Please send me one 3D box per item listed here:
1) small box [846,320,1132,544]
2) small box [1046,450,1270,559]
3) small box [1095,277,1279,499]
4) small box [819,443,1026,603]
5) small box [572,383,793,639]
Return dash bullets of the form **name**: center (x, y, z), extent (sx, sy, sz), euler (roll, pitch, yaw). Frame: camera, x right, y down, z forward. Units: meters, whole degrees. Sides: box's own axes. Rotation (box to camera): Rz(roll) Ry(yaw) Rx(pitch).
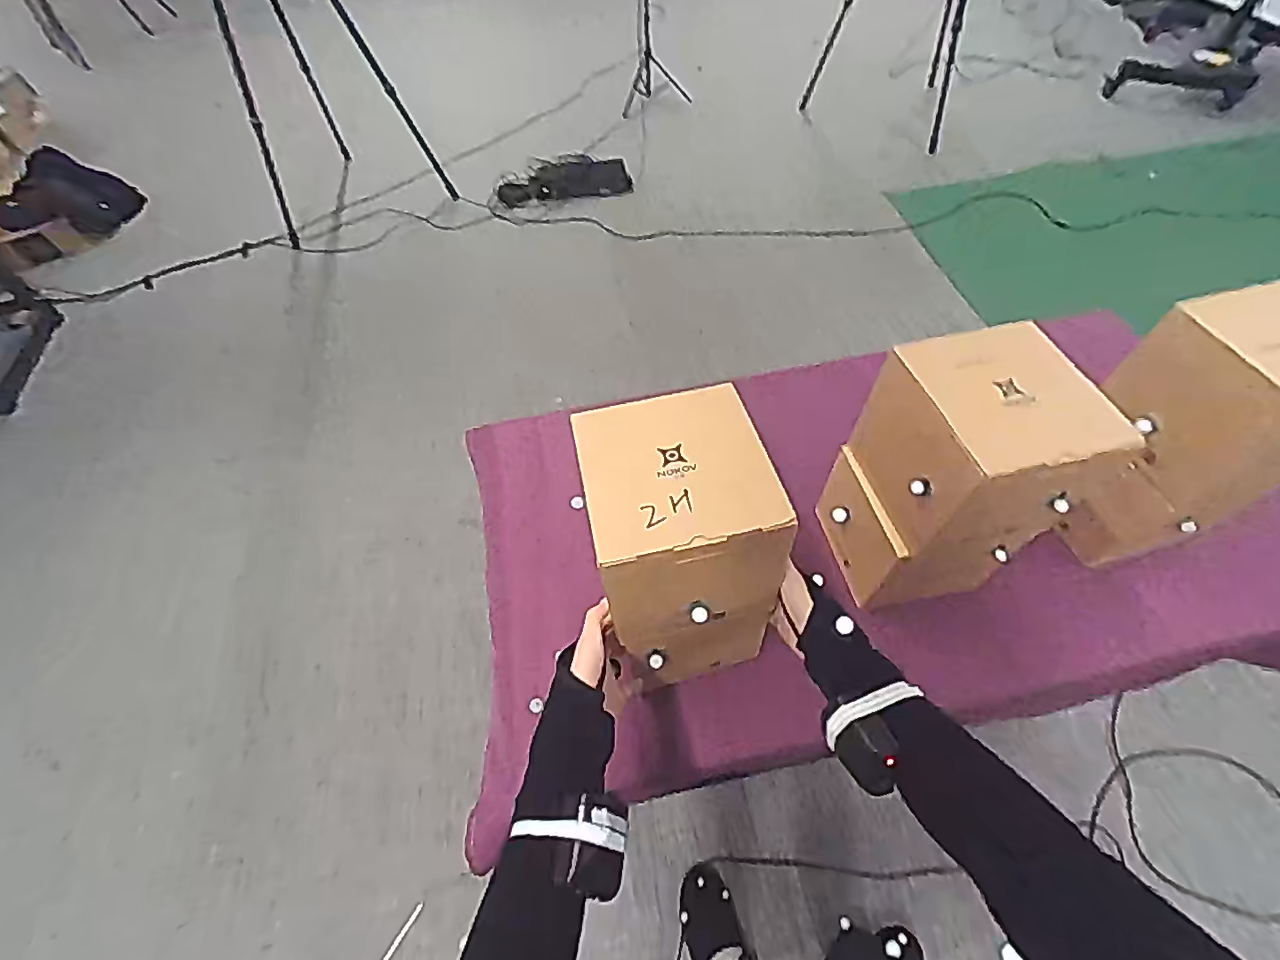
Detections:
- **small box**: center (0.358, -0.044, 0.599), extent (0.168, 0.176, 0.179), euler (-11, 55, -6)
- **small box**: center (0.680, -0.010, 0.751), extent (0.179, 0.176, 0.168), euler (-14, 56, -5)
- **small box**: center (0.672, -0.101, 0.614), extent (0.179, 0.176, 0.168), euler (-13, 55, -5)
- **small box**: center (0.359, 0.050, 0.733), extent (0.179, 0.176, 0.168), euler (-10, 55, -5)
- **small box**: center (0.034, 0.033, 0.544), extent (0.168, 0.176, 0.179), euler (-13, 51, -4)
